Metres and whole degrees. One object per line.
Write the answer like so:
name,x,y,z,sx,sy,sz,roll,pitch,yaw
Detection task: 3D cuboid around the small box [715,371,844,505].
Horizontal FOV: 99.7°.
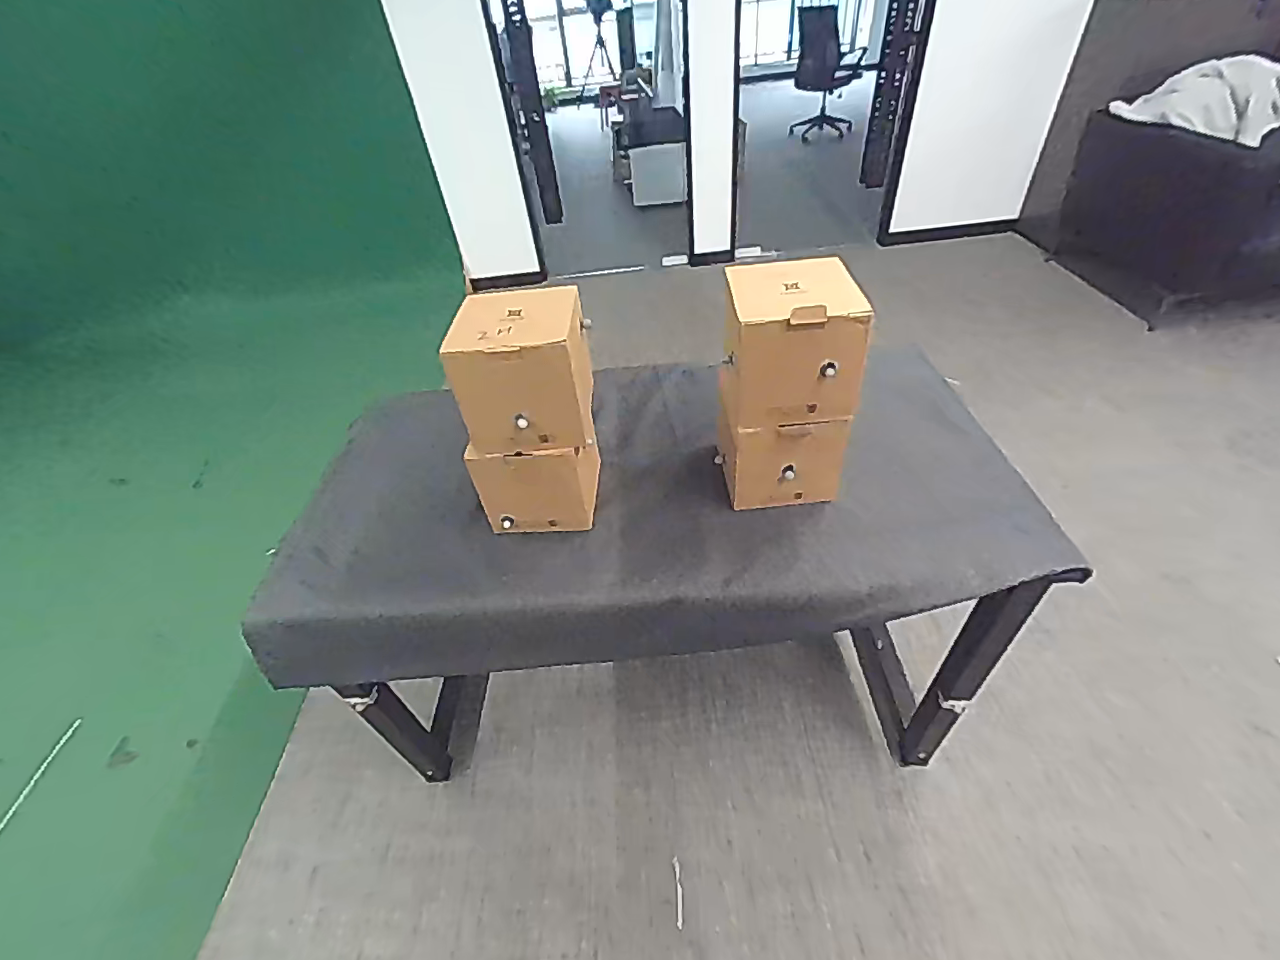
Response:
small box,0.218,-0.072,0.892,0.168,0.176,0.179,-6,43,1

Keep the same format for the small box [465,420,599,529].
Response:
small box,-0.166,-0.031,0.899,0.168,0.176,0.179,-2,41,5

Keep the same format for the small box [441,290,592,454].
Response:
small box,-0.165,-0.159,0.794,0.168,0.176,0.179,-5,42,3

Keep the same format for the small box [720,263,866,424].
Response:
small box,0.208,-0.193,0.782,0.168,0.176,0.179,-4,41,3
